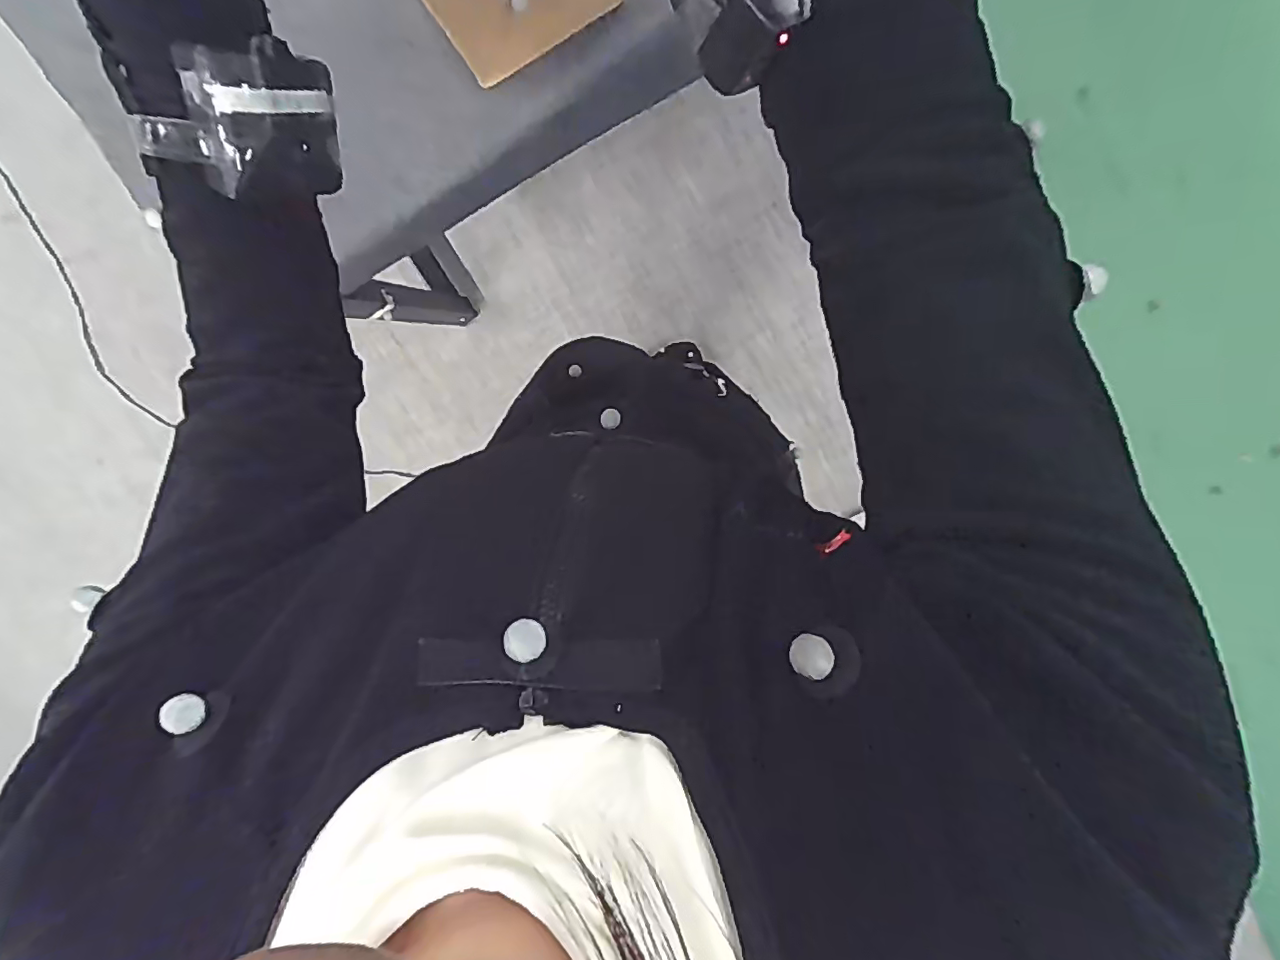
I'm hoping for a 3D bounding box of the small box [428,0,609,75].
[{"bbox_3d":[-0.133,-0.515,0.478,0.179,0.176,0.168,-26,100,11],"label":"small box"}]
